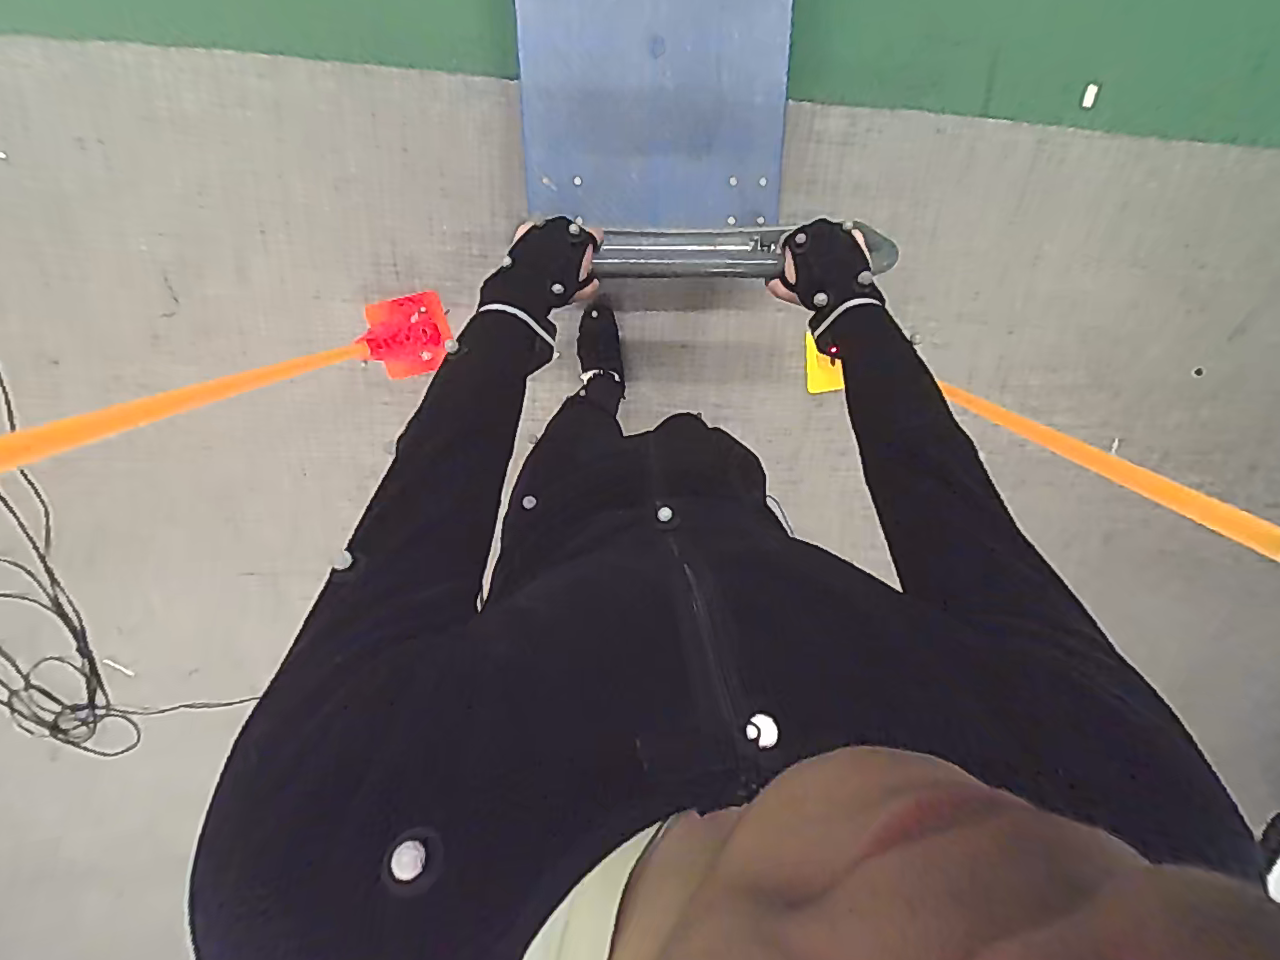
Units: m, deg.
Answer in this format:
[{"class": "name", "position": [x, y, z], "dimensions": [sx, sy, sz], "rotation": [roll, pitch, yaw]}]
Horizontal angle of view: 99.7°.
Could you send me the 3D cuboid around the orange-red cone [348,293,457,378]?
[{"class": "orange-red cone", "position": [-0.593, -0.326, 1.274], "dimensions": [0.199, 0.360, 0.198], "rotation": [-12, 109, 1]}]
